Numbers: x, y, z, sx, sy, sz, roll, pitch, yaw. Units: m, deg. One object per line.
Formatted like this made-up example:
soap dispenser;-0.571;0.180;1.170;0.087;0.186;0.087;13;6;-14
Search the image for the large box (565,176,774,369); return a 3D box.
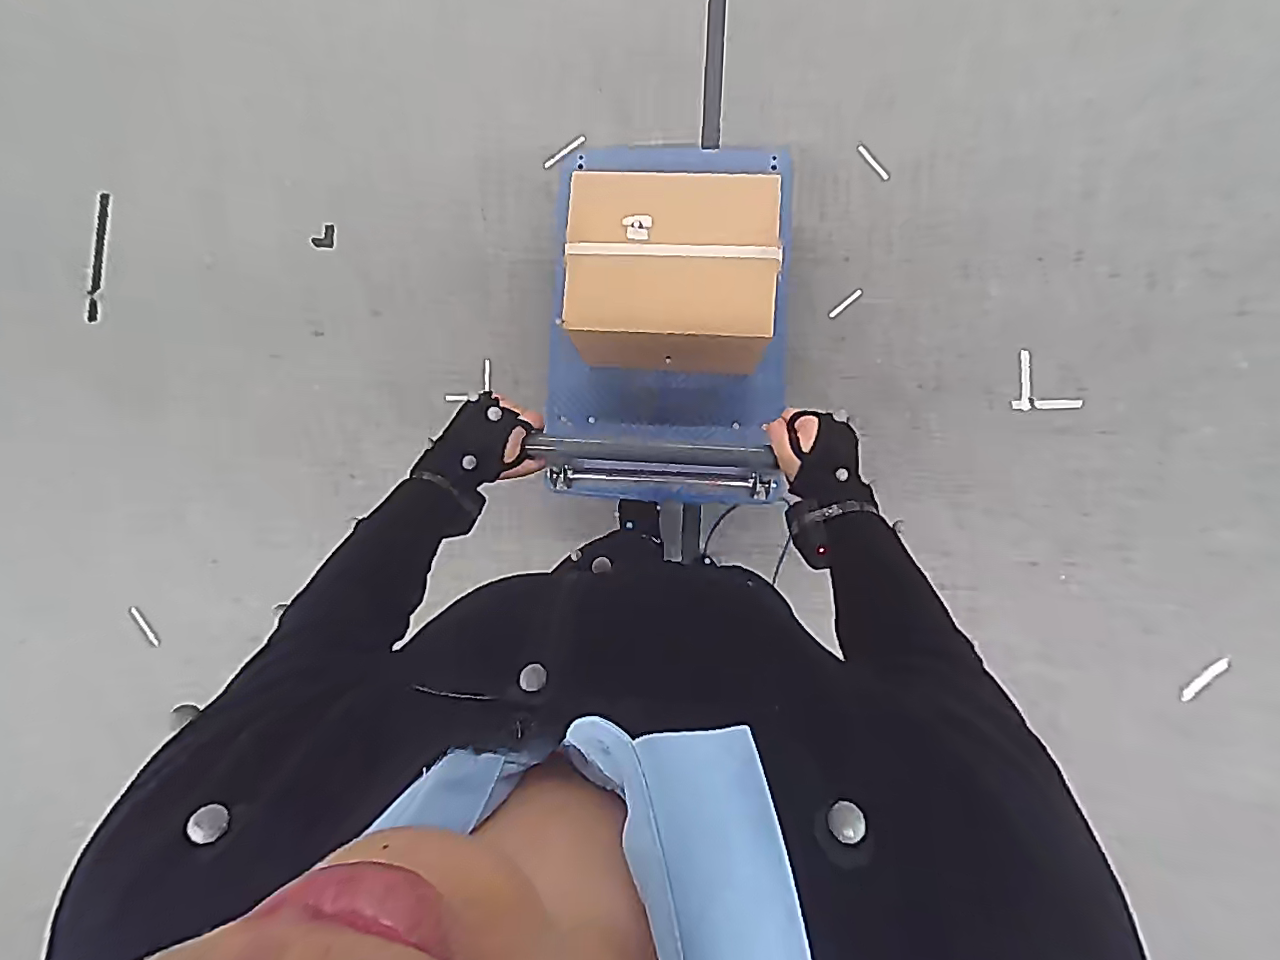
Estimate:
large box;0.072;-0.435;1.201;0.408;0.320;0.320;3;87;6
